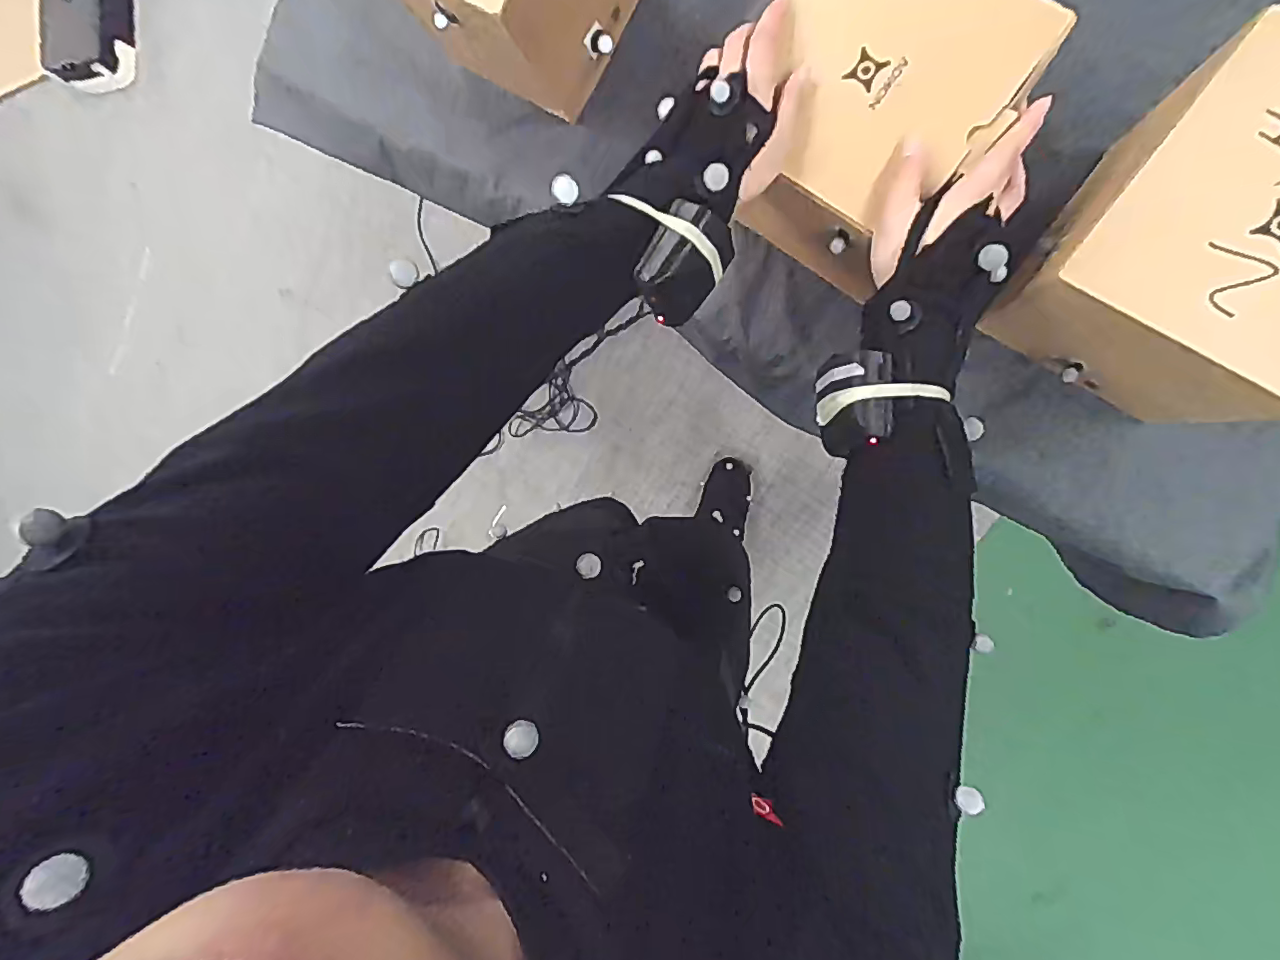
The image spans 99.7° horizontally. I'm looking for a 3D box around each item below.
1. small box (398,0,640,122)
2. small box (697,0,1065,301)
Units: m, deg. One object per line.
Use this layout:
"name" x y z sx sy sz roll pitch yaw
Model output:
"small box" -0.125 -0.486 0.512 0.179 0.176 0.168 33 103 10
"small box" 0.173 -0.273 0.444 0.179 0.176 0.168 38 102 10
